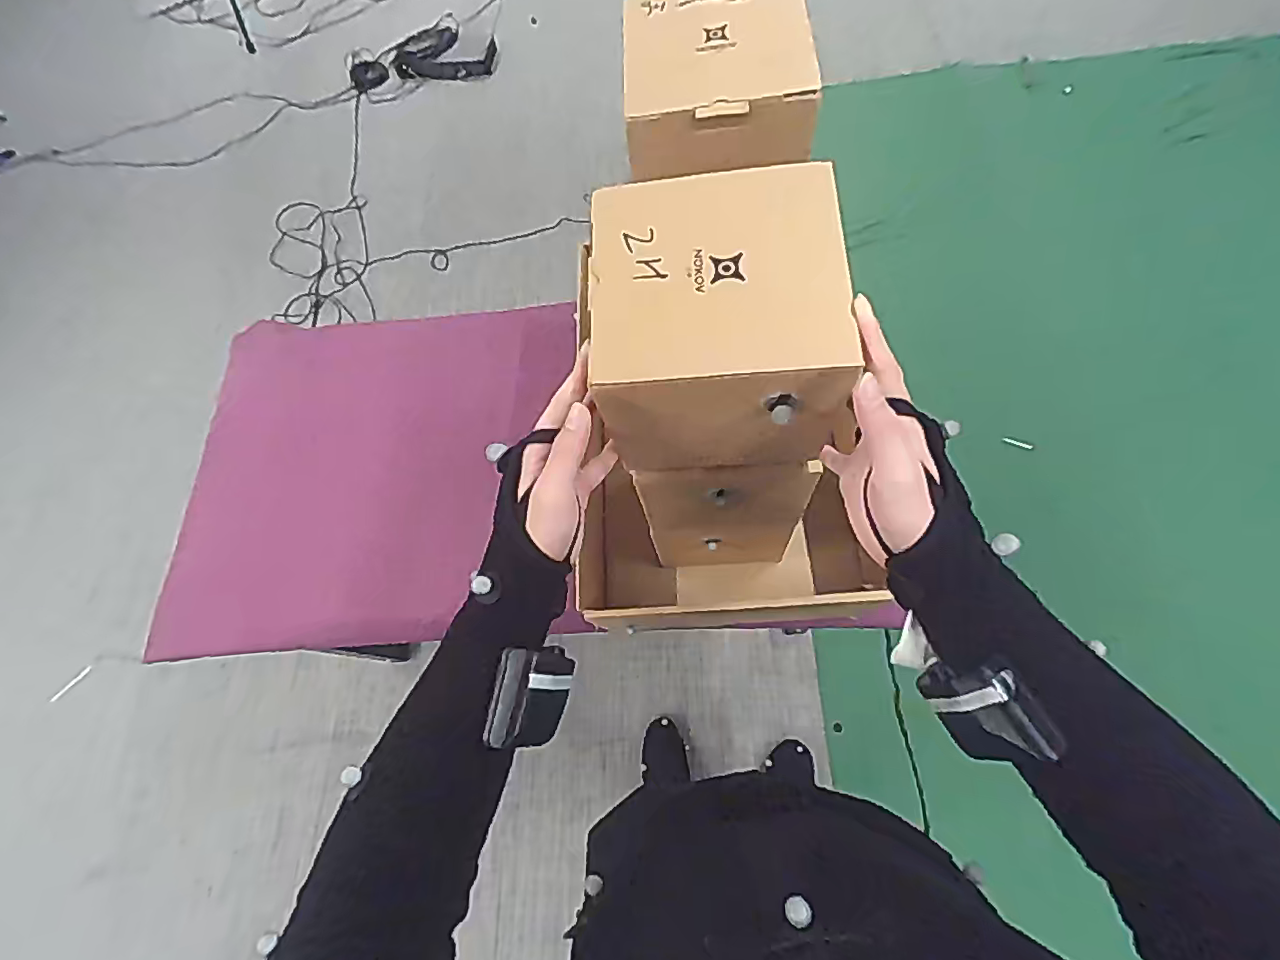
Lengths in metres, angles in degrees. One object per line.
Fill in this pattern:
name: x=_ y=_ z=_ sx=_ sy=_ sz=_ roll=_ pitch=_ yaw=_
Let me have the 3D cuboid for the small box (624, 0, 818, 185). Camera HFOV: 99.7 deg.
small box: x=0.077 y=-0.354 z=0.555 sx=0.168 sy=0.176 sz=0.179 roll=-2 pitch=69 yaw=5

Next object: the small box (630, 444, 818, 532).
small box: x=0.089 y=-0.043 z=0.602 sx=0.179 sy=0.176 sz=0.168 roll=-2 pitch=68 yaw=7

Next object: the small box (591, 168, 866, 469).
small box: x=0.063 y=-0.114 z=0.440 sx=0.179 sy=0.176 sz=0.168 roll=-3 pitch=71 yaw=7
